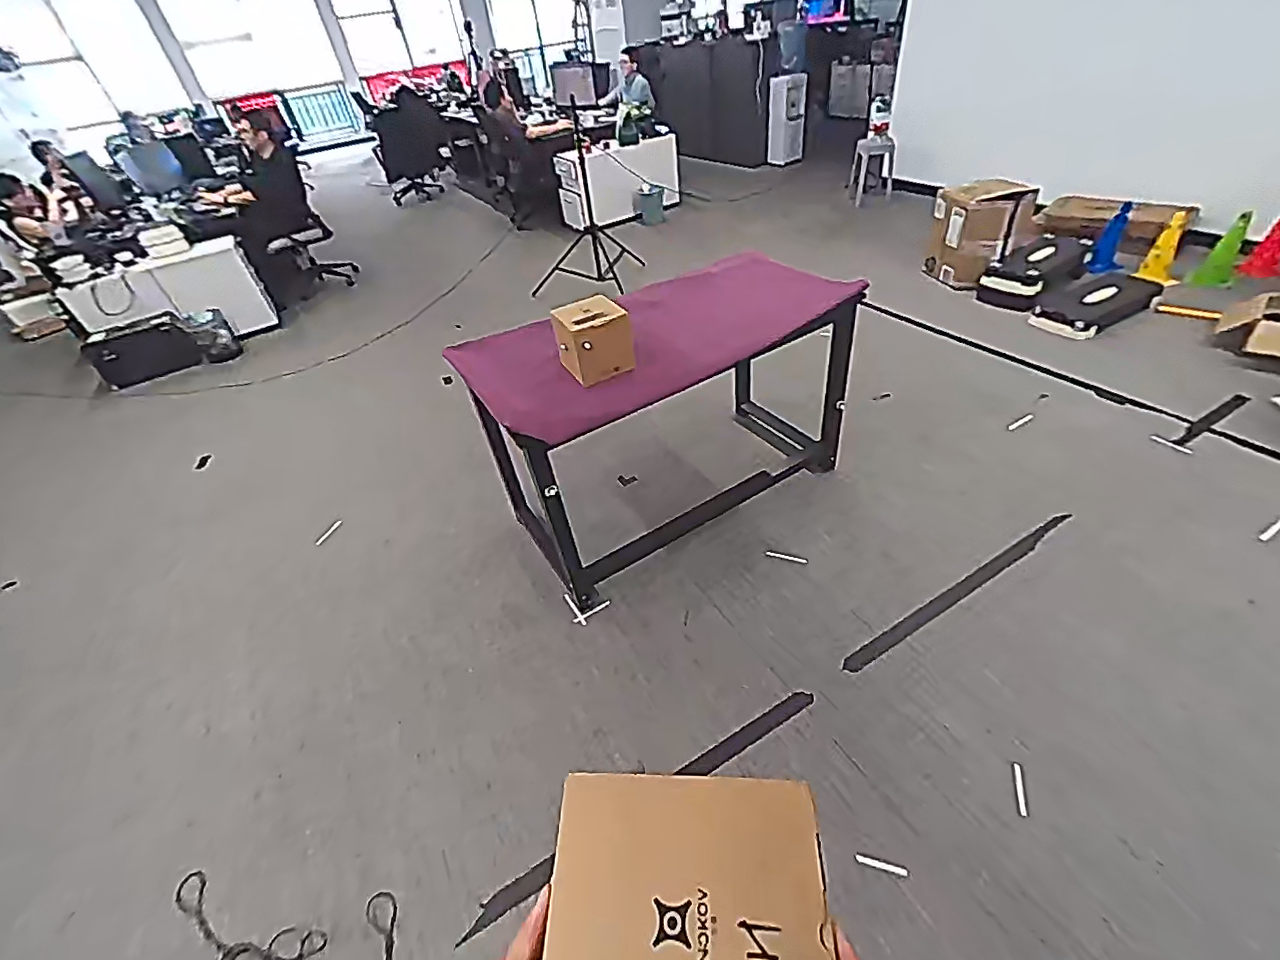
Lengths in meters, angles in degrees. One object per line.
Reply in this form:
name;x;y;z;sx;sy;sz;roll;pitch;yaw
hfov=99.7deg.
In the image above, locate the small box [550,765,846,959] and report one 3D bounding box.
small box;0.043;0.317;0.389;0.179;0.176;0.168;-2;50;7
